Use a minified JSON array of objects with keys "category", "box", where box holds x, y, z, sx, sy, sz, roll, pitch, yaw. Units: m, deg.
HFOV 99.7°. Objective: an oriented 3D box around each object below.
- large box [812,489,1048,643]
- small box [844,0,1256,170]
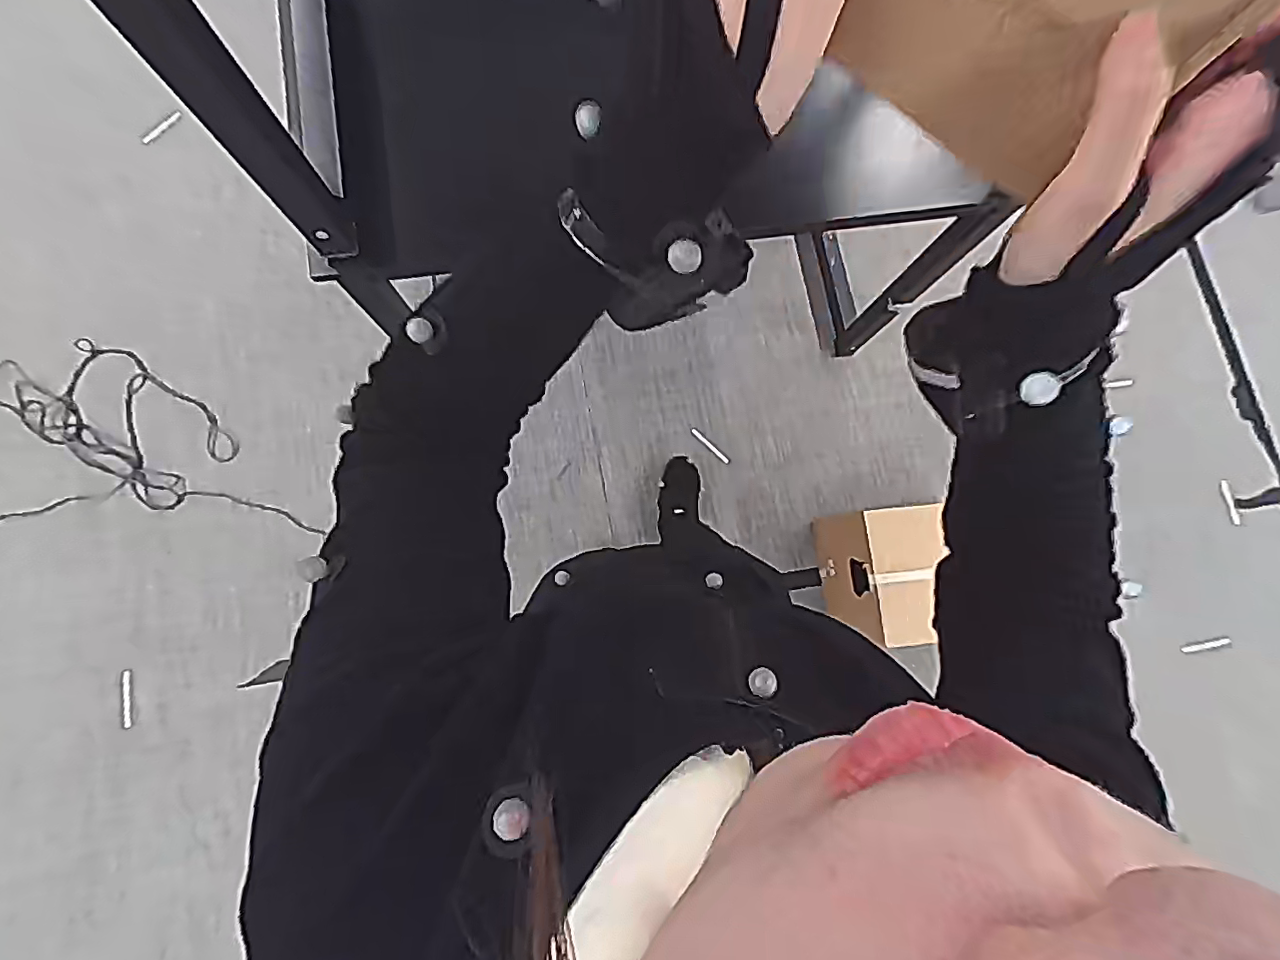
[{"category":"large box","box":[0.710,0.216,1.387,0.408,0.320,0.320,-6,83,-6]},{"category":"small box","box":[0.146,-0.259,0.179,0.168,0.179,0.176,23,51,-16]}]
